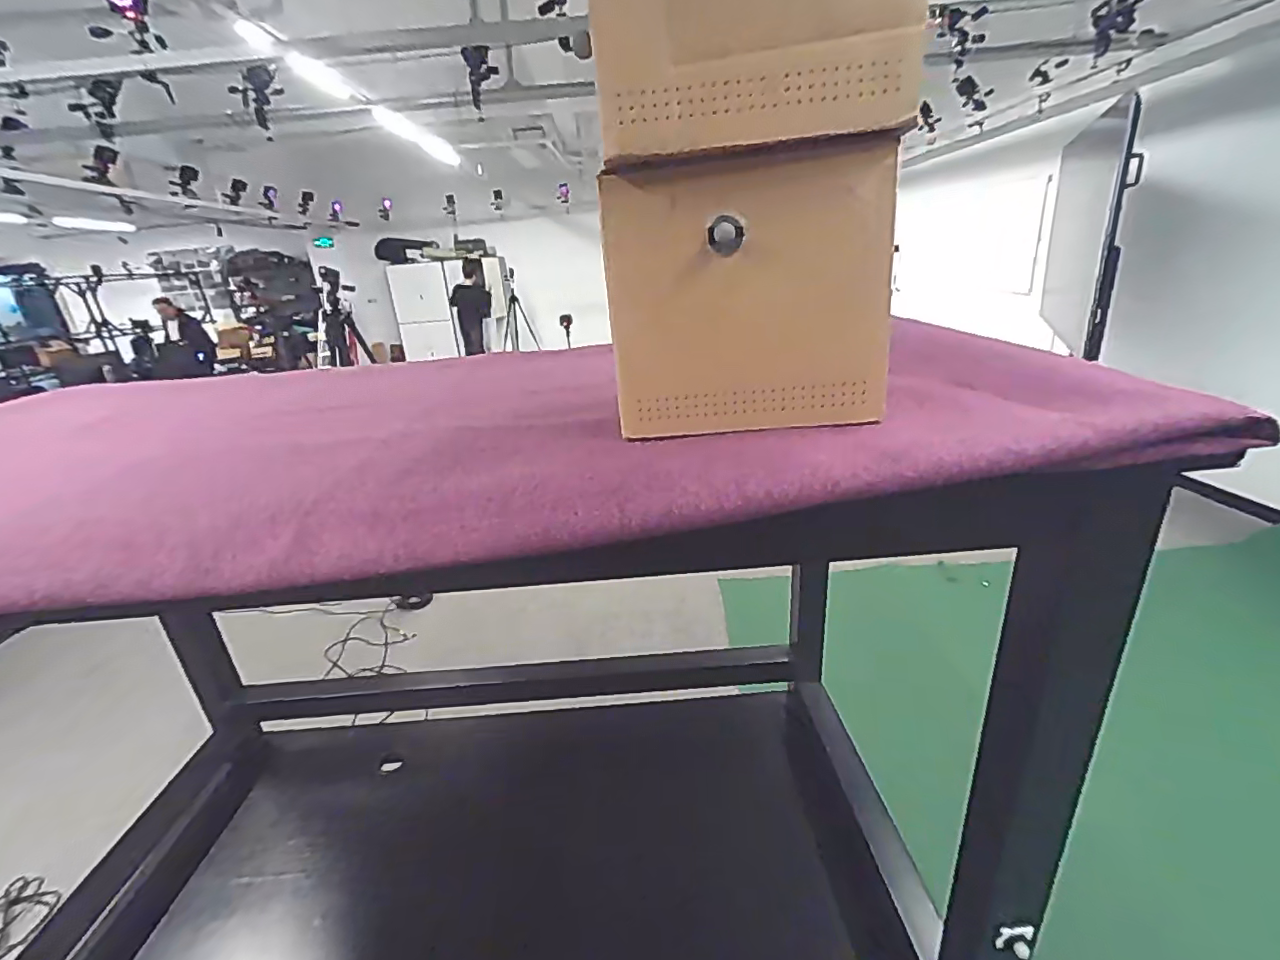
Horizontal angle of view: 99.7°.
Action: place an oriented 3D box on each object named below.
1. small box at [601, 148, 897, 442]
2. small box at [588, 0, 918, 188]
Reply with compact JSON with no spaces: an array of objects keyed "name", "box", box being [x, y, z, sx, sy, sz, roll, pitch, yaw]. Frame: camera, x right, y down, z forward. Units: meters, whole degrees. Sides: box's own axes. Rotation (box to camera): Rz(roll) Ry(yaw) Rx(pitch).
[{"name":"small box","box":[0.077,-0.130,0.414,0.179,0.176,0.168,-3,20,6]},{"name":"small box","box":[0.060,-0.277,0.345,0.179,0.176,0.168,-5,20,2]}]
